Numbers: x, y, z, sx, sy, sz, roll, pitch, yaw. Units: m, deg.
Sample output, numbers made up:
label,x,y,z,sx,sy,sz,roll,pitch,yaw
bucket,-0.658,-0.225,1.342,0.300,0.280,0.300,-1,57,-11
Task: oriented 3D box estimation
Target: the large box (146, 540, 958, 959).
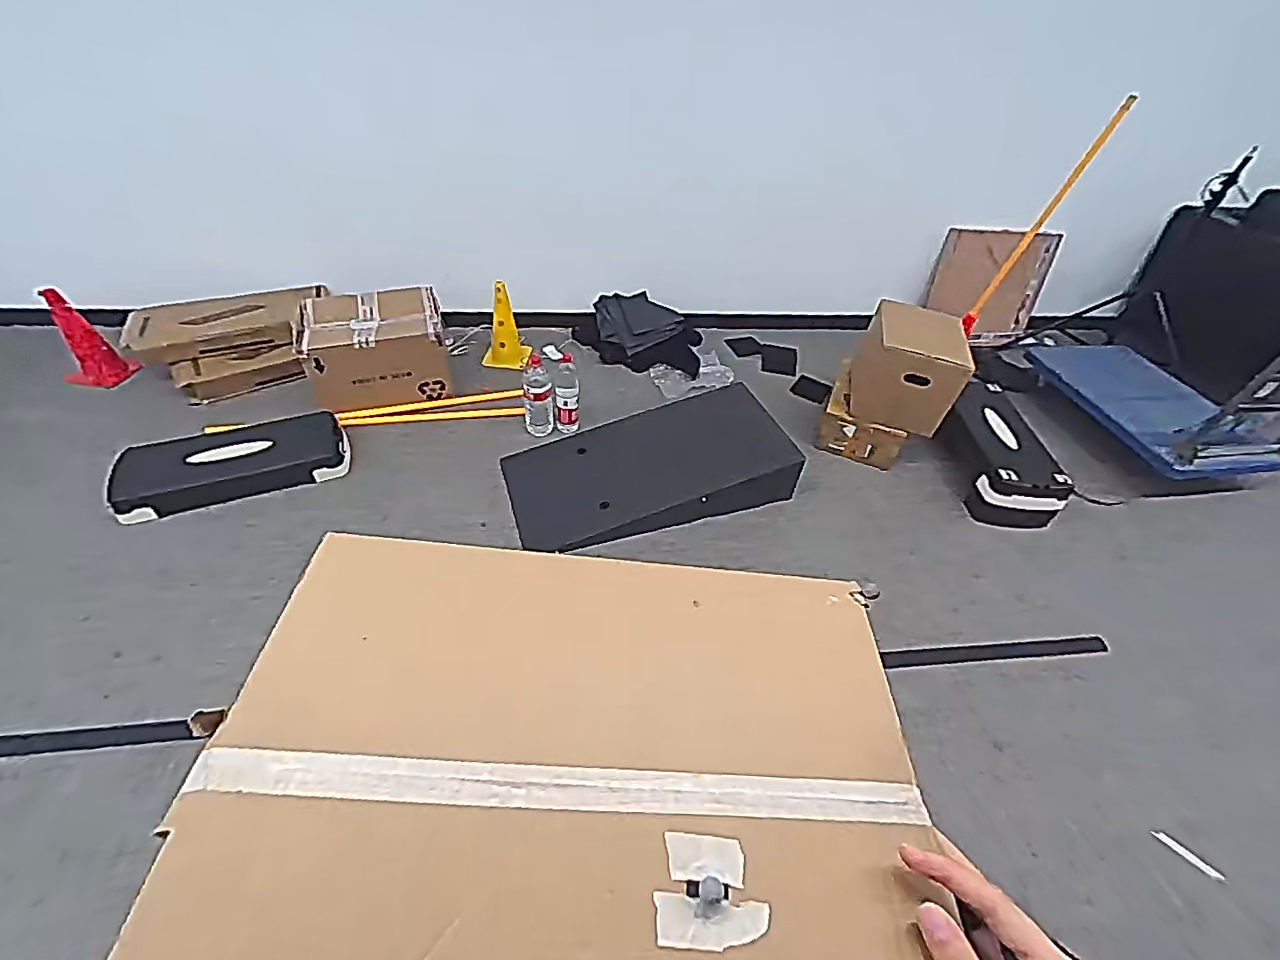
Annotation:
label,x,y,z,sx,sy,sz,roll,pitch,yaw
large box,-0.049,0.276,0.427,0.408,0.320,0.320,7,48,-6
